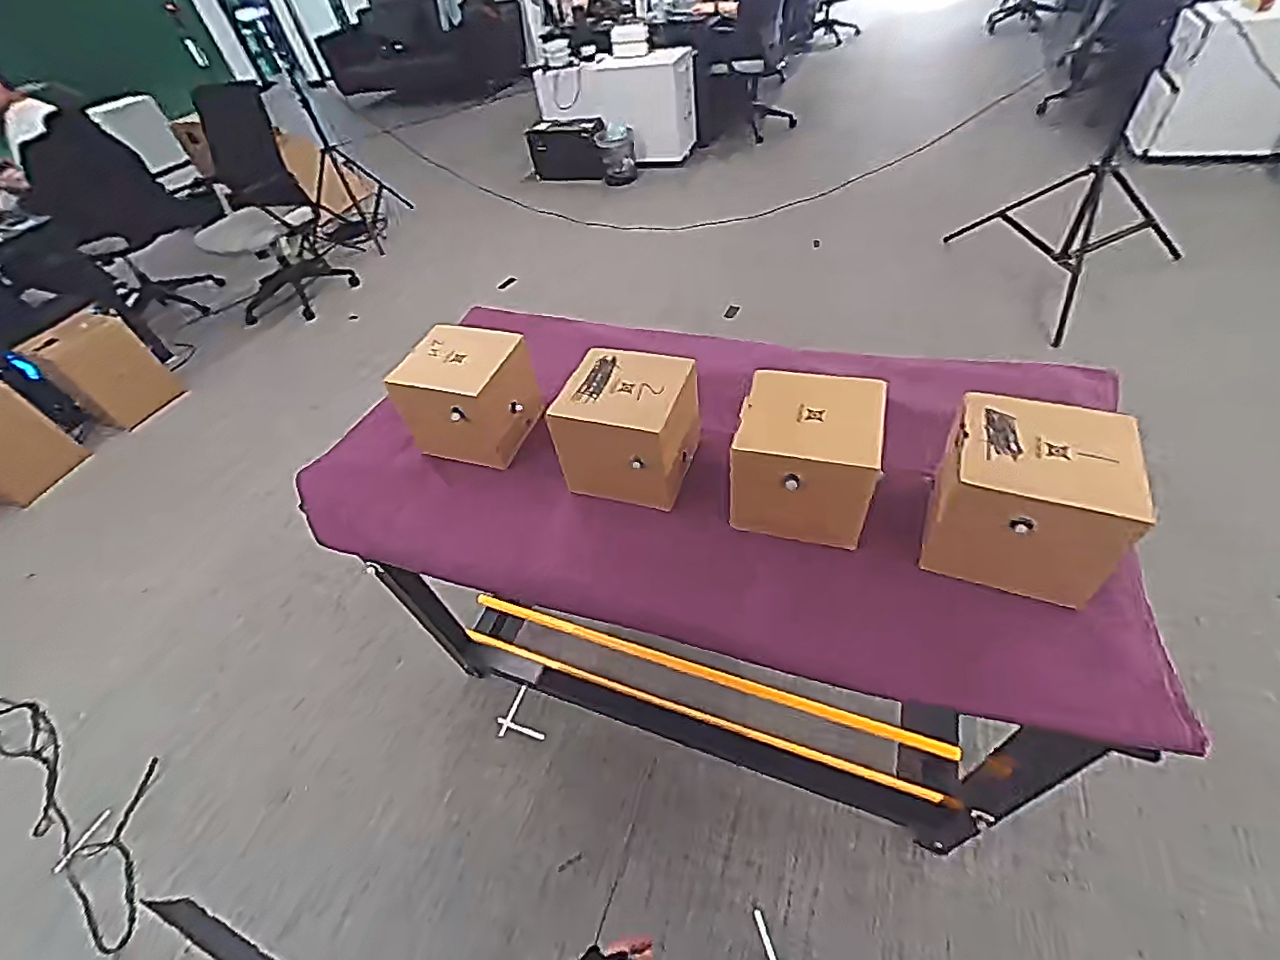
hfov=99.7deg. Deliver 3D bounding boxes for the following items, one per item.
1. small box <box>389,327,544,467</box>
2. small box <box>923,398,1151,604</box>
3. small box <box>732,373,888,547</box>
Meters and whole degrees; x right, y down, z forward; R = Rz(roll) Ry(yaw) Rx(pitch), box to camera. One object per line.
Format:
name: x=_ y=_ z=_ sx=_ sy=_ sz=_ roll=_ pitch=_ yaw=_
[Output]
small box: x=-0.290 y=-0.143 z=0.949 sx=0.179 sy=0.176 sz=0.168 roll=11 pitch=50 yaw=16
small box: x=0.464 y=0.026 z=0.662 sx=0.179 sy=0.176 sz=0.168 roll=15 pitch=51 yaw=22
small box: x=0.233 y=-0.026 z=0.757 sx=0.179 sy=0.176 sz=0.168 roll=9 pitch=50 yaw=19
